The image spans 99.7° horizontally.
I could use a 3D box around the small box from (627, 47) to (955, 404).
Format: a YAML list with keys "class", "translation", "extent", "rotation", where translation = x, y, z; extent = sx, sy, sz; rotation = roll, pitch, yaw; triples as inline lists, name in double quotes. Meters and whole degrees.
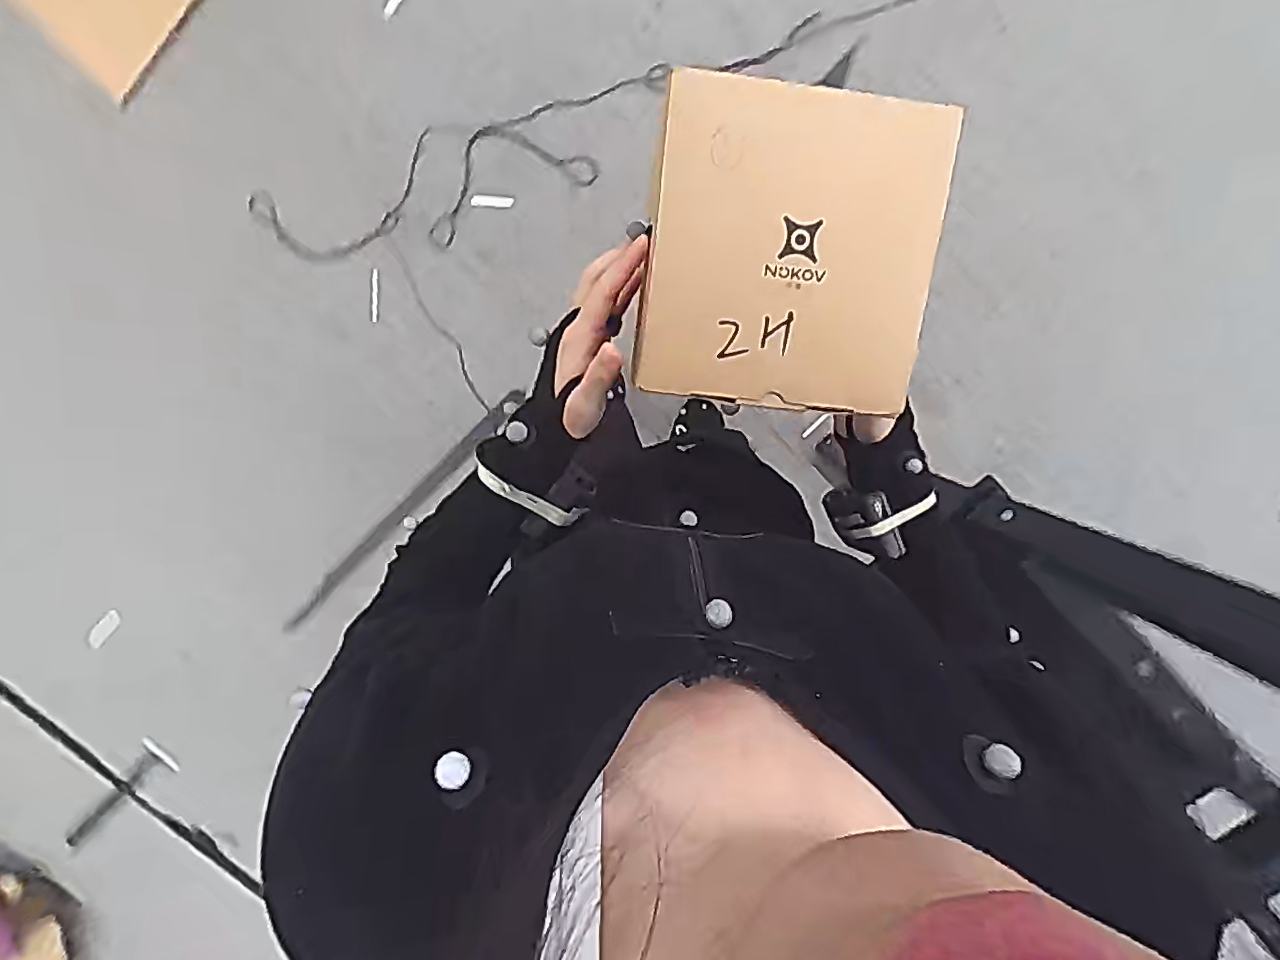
- class: "small box"
  translation: [0.080, -0.152, 0.383]
  extent: [0.168, 0.176, 0.179]
  rotation: [4, 101, -4]
